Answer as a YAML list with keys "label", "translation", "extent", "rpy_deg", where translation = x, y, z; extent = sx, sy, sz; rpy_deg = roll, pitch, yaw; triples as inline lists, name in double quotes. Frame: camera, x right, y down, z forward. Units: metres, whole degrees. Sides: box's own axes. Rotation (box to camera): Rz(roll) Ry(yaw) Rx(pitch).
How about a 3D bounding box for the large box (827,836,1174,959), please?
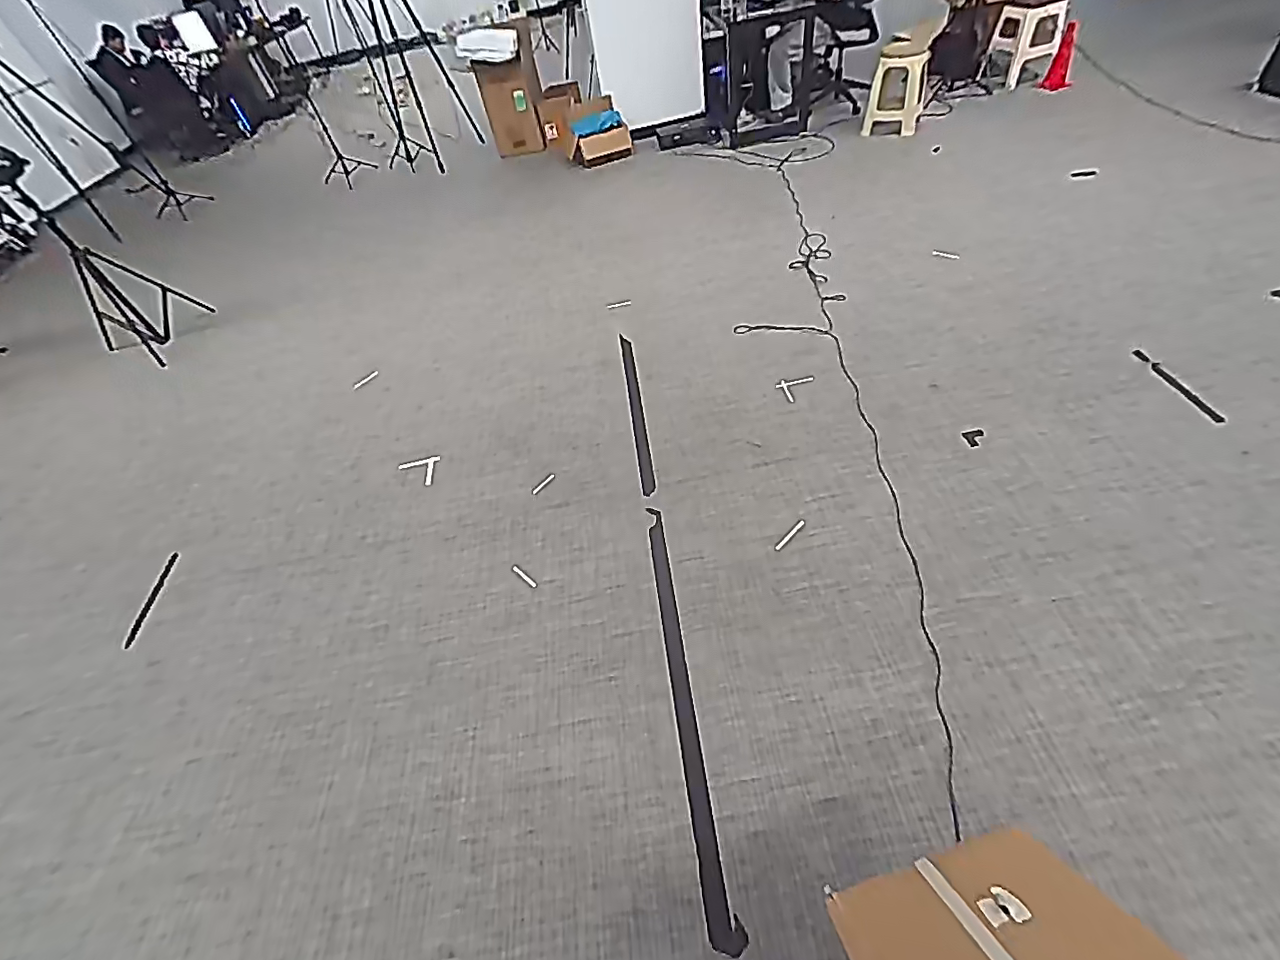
- label: "large box"
  translation: [0.470, 0.699, 0.594]
  extent: [0.320, 0.408, 0.320]
  rpy_deg: [-20, 82, -1]
